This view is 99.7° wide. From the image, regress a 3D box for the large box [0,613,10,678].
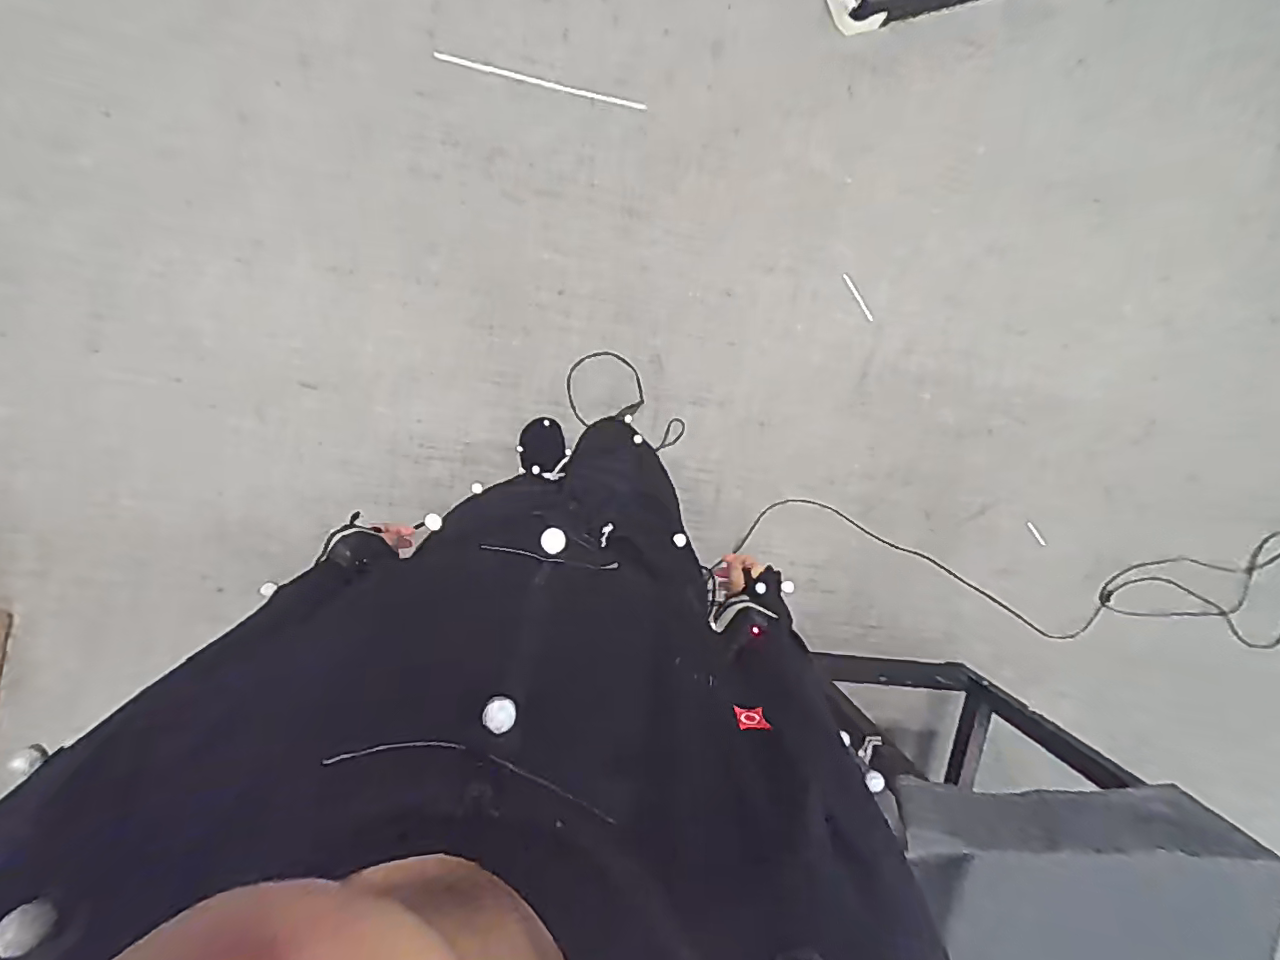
[{"bbox_3d":[-1.588,0.473,1.062,0.320,0.320,0.408,15,94,-10],"label":"large box"}]
